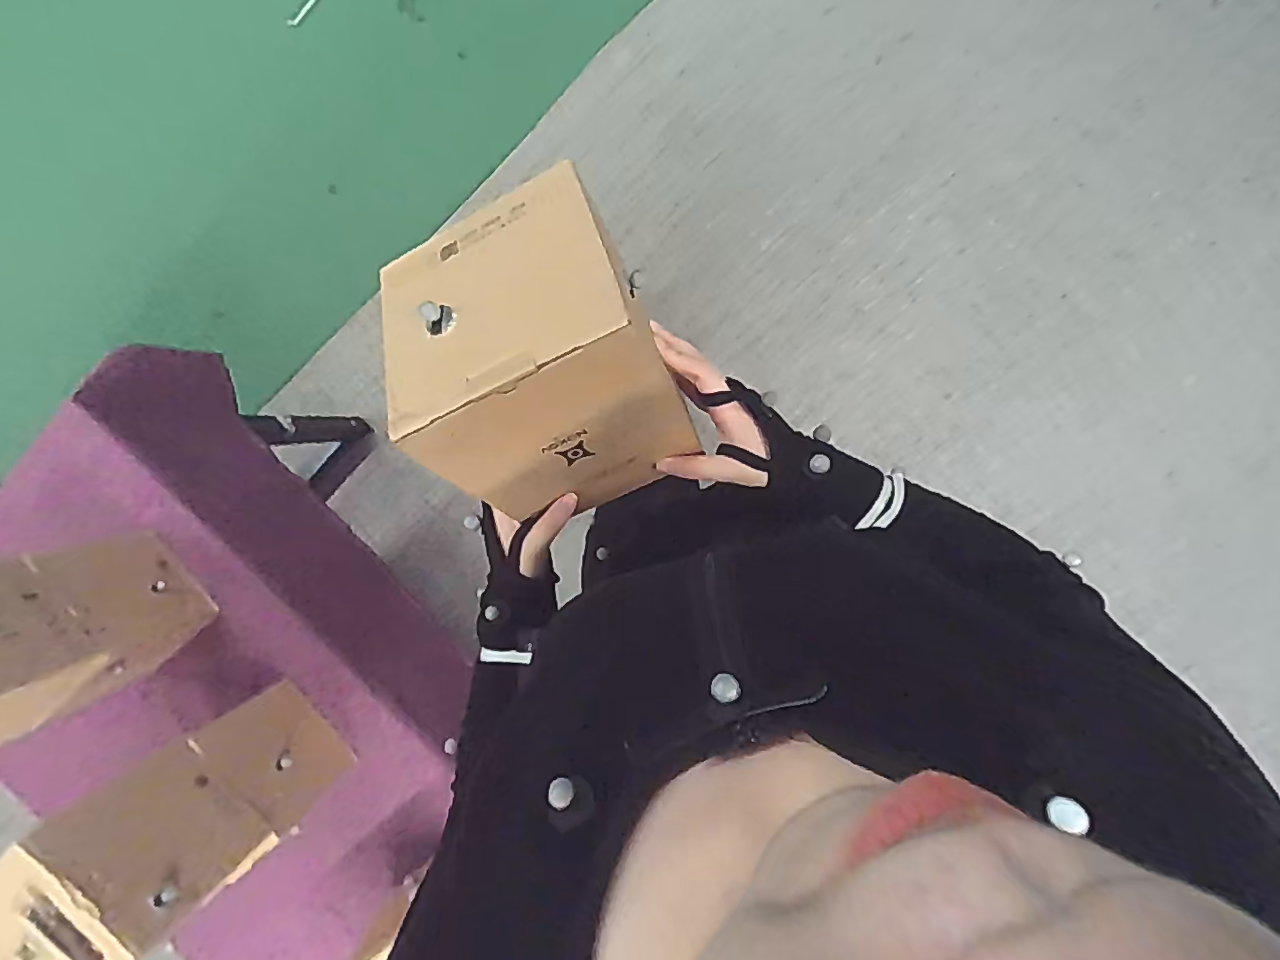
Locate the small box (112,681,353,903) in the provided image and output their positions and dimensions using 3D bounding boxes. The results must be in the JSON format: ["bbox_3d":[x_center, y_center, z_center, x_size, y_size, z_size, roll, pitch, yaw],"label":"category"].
[{"bbox_3d":[-0.555,0.424,0.764,0.168,0.176,0.179,-41,92,8],"label":"small box"}]

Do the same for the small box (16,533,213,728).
[{"bbox_3d":[-0.770,0.199,0.762,0.179,0.176,0.168,-39,91,7],"label":"small box"}]

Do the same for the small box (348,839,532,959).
[{"bbox_3d":[-0.281,0.667,0.762,0.168,0.176,0.179,-41,90,8],"label":"small box"}]

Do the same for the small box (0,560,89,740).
[{"bbox_3d":[-0.785,0.213,0.598,0.179,0.176,0.168,-41,91,7],"label":"small box"}]

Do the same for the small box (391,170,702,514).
[{"bbox_3d":[-0.071,-0.103,0.422,0.168,0.179,0.176,-23,60,10],"label":"small box"}]
